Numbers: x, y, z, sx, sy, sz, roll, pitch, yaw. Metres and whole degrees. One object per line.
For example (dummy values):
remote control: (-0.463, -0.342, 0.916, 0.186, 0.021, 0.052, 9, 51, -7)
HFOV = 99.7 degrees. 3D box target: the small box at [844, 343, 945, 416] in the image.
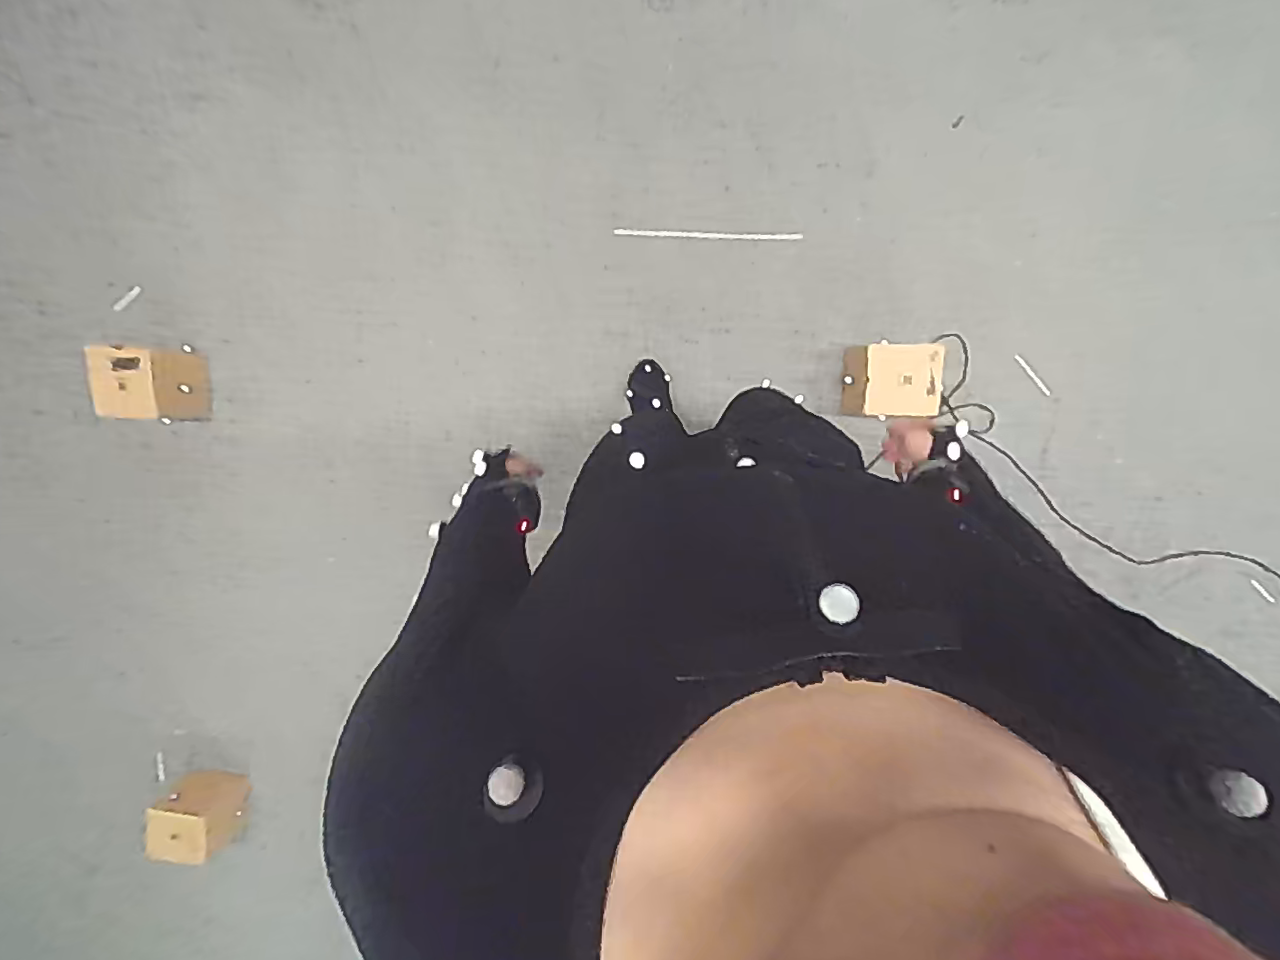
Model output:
small box: (0.614, -0.243, 1.326, 0.179, 0.176, 0.168, 1, 100, 4)

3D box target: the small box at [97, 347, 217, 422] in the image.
small box: (-1.260, -0.249, 1.422, 0.168, 0.176, 0.179, 4, 100, 2)

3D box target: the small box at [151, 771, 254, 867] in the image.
small box: (-1.305, 1.006, 1.617, 0.179, 0.176, 0.168, 8, 100, 1)
